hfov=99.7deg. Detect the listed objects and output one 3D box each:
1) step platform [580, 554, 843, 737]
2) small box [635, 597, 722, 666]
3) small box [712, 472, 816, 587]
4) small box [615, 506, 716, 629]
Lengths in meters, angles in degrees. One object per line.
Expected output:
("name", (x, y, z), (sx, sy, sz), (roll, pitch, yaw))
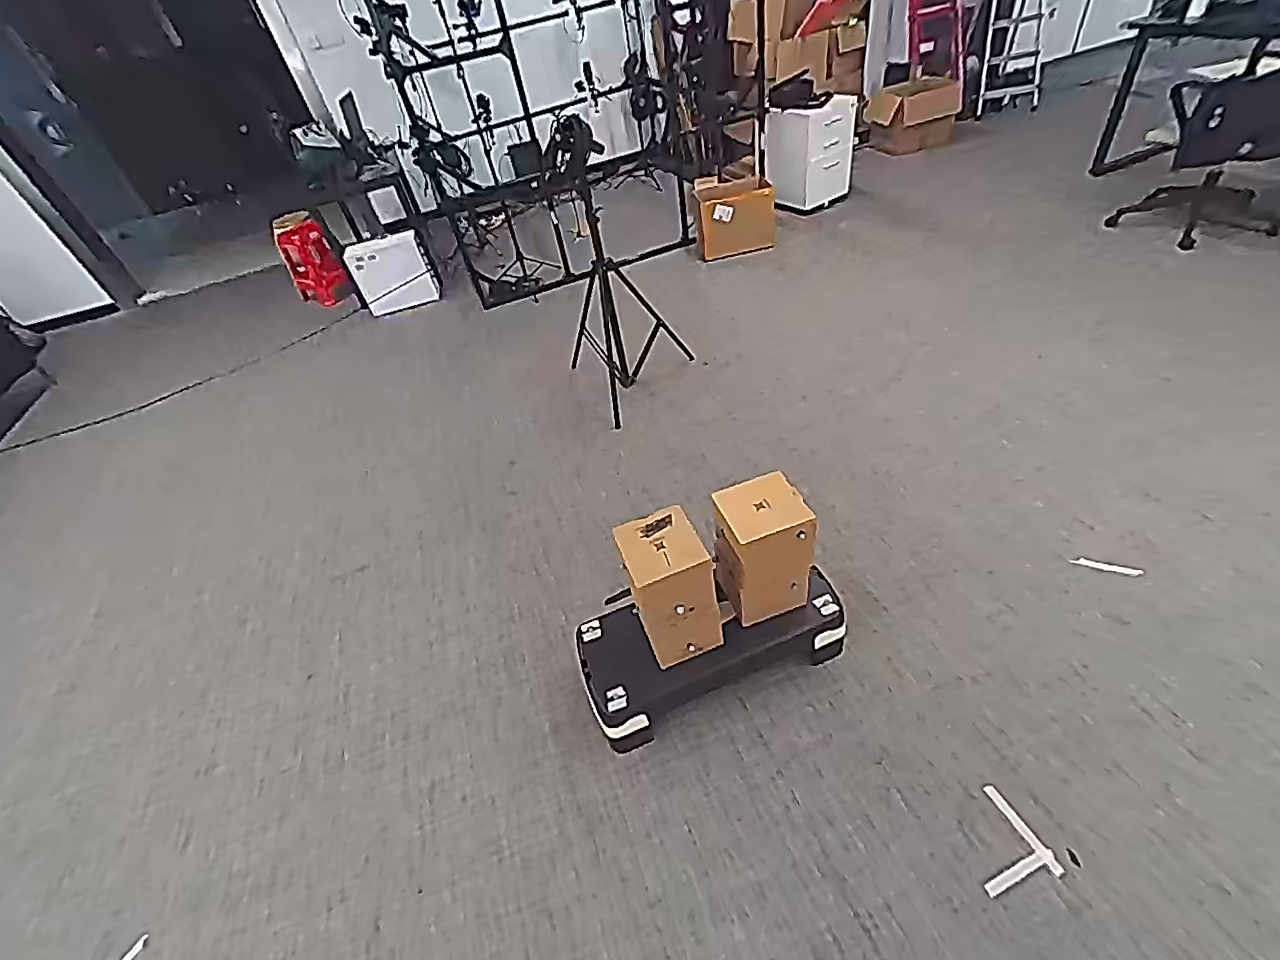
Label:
("step platform", (0.187, 0.398, 1.448), (0.684, 0.204, 0.286), (-22, 43, -8))
("small box", (0.087, 0.314, 1.306), (0.168, 0.176, 0.179), (-20, 43, -7))
("small box", (0.279, 0.116, 1.228), (0.179, 0.176, 0.168), (-19, 43, -7))
("small box", (0.057, 0.195, 1.197), (0.168, 0.176, 0.179), (-20, 43, -8))
